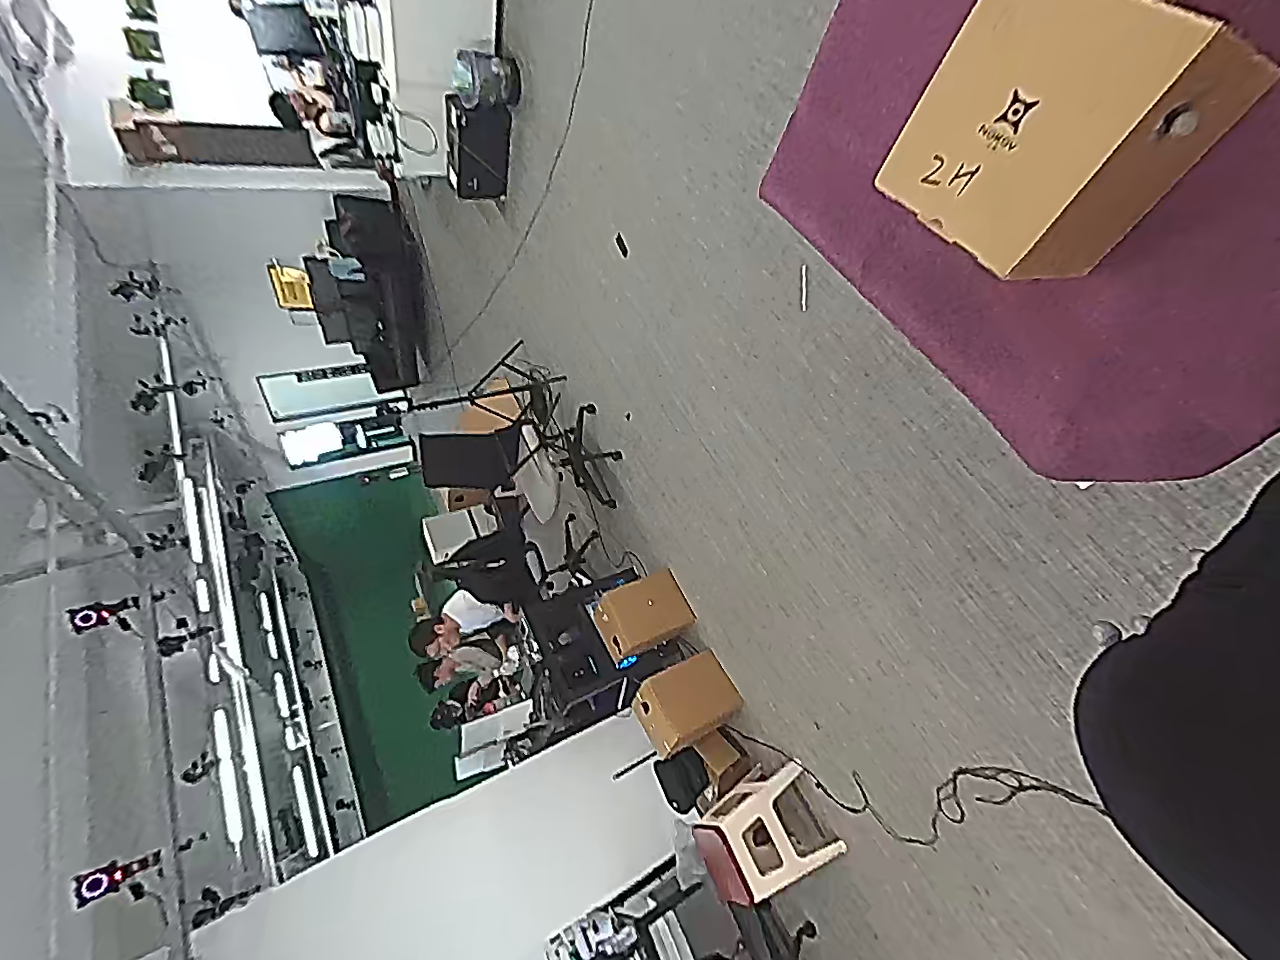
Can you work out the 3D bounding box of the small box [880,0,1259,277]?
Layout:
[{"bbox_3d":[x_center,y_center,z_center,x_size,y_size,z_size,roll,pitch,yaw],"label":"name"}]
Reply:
[{"bbox_3d":[0.360,-0.300,0.468,0.168,0.176,0.179,59,146,28],"label":"small box"}]
